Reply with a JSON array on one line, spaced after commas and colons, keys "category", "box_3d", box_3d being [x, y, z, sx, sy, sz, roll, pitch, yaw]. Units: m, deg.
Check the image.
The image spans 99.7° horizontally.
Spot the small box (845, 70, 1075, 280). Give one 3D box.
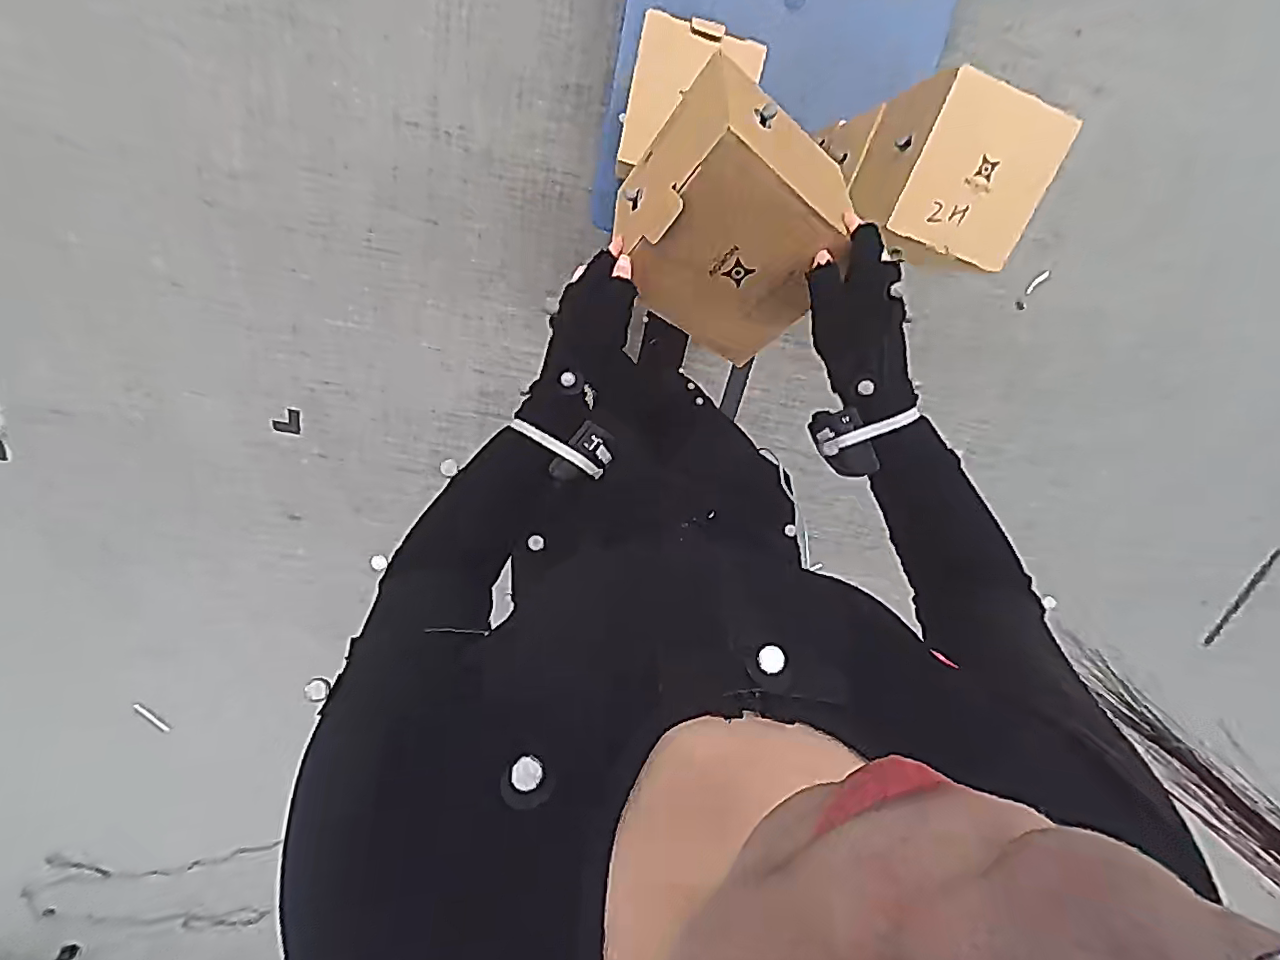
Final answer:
[{"category": "small box", "box_3d": [0.389, -0.381, 0.705, 0.168, 0.176, 0.179, 17, 113, -10]}]

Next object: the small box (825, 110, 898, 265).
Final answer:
[{"category": "small box", "box_3d": [0.380, -0.446, 0.856, 0.179, 0.176, 0.168, 15, 113, -10]}]

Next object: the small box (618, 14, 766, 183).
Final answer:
[{"category": "small box", "box_3d": [0.064, -0.529, 0.801, 0.168, 0.176, 0.179, 12, 112, -8]}]

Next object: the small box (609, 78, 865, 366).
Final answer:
[{"category": "small box", "box_3d": [0.088, -0.256, 0.542, 0.179, 0.176, 0.168, 25, 139, -27]}]
